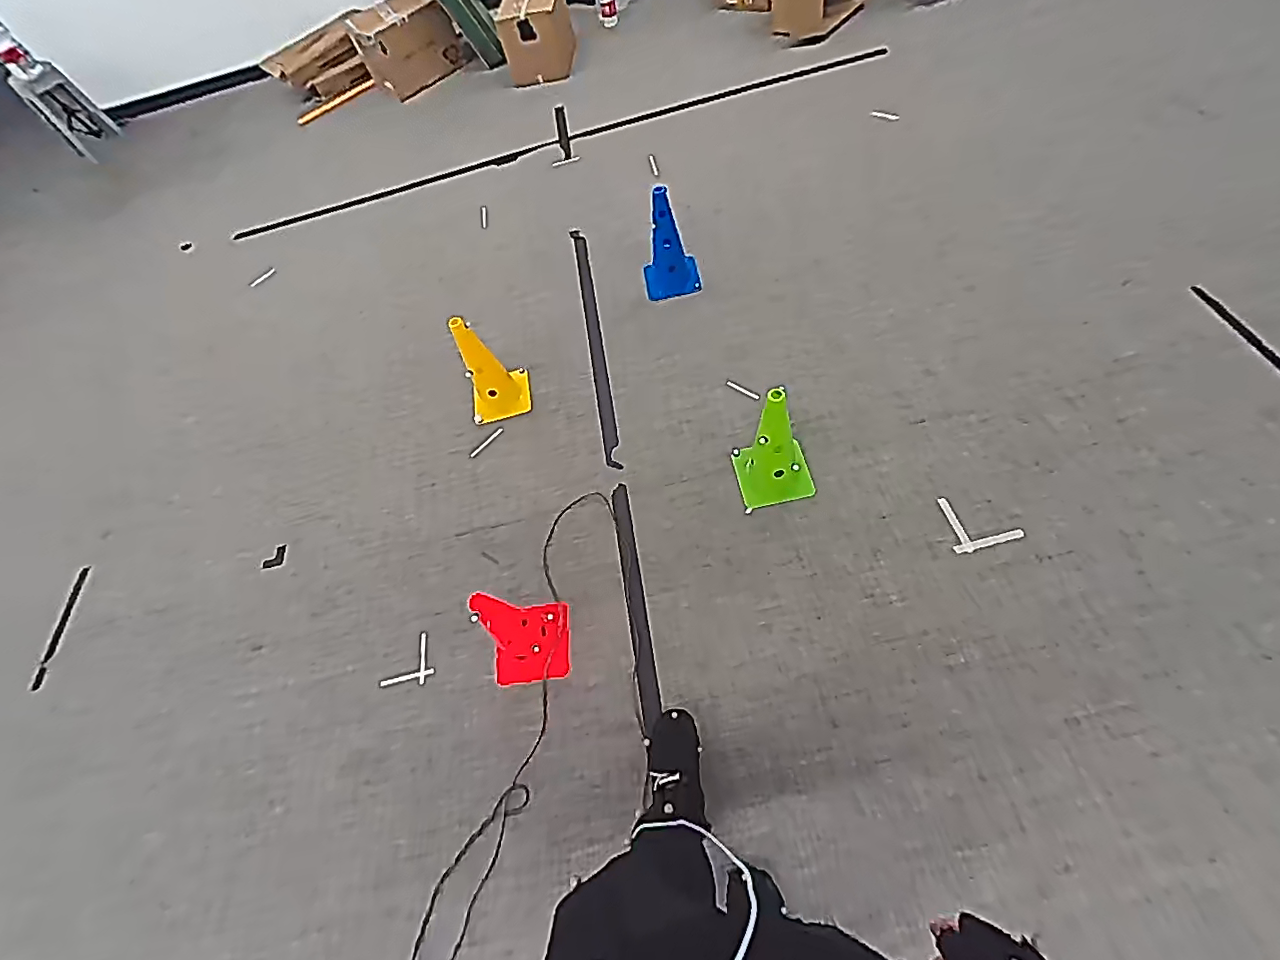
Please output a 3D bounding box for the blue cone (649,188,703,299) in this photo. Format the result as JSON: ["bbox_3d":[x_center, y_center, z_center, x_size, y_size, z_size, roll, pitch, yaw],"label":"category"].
[{"bbox_3d":[0.109,-0.841,1.907,0.192,0.380,0.193,-9,59,5],"label":"blue cone"}]

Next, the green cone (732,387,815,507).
[{"bbox_3d":[0.353,-0.107,1.409,0.202,0.368,0.200,-12,58,3],"label":"green cone"}]

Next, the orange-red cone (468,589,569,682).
[{"bbox_3d":[-0.317,0.340,1.287,0.199,0.360,0.198,-9,57,7],"label":"orange-red cone"}]
